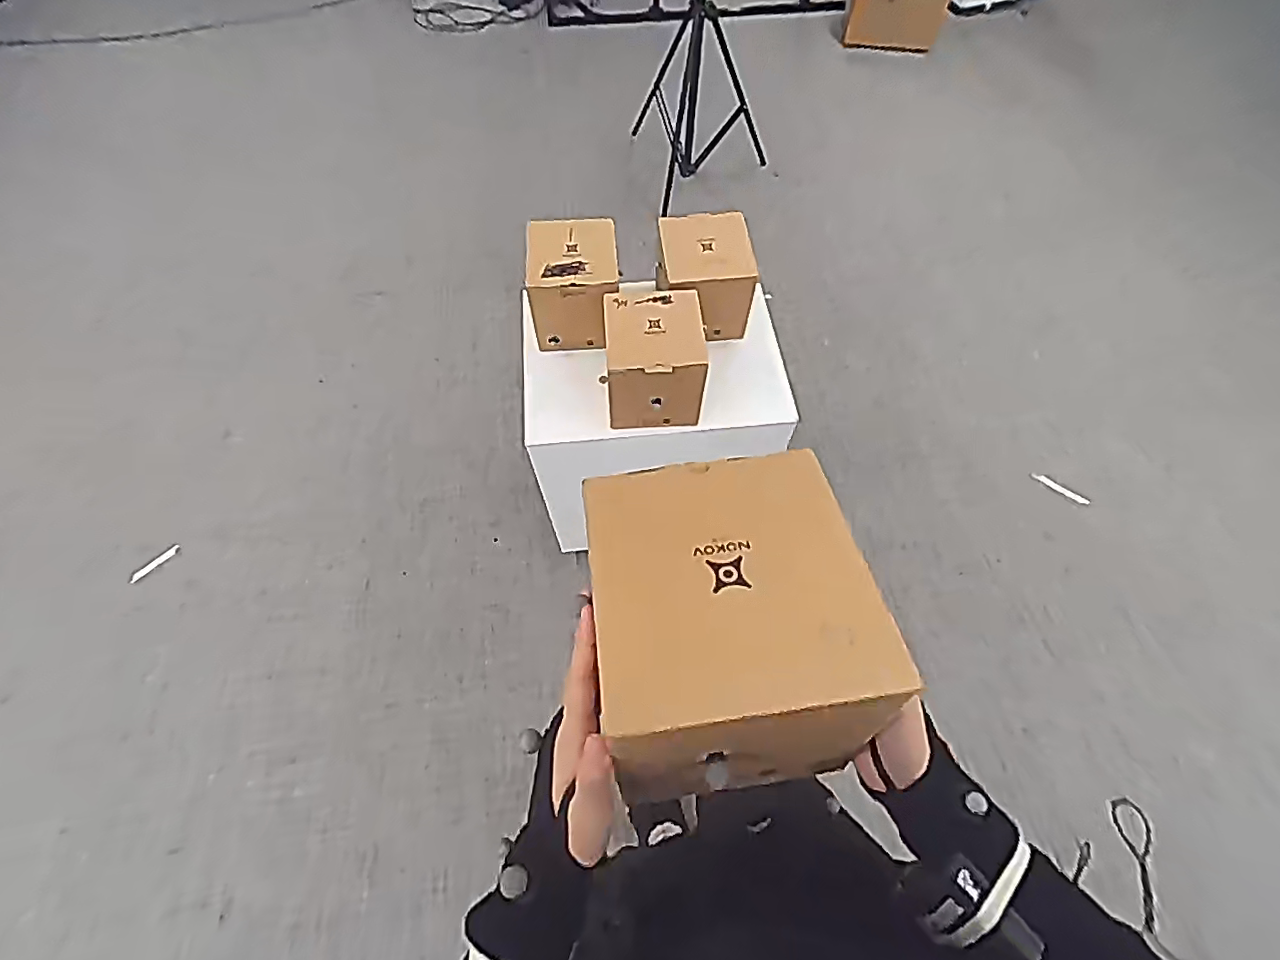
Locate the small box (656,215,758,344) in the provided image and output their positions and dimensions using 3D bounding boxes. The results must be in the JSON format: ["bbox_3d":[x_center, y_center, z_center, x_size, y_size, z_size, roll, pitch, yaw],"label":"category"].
[{"bbox_3d":[0.122,-0.390,1.068,0.168,0.176,0.179,-6,64,-2],"label":"small box"}]

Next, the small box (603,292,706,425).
[{"bbox_3d":[0.021,-0.209,0.969,0.168,0.176,0.179,-3,62,-3],"label":"small box"}]

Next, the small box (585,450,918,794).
[{"bbox_3d":[0.056,0.106,0.385,0.168,0.176,0.179,-8,48,-3],"label":"small box"}]

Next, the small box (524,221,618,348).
[{"bbox_3d":[-0.127,-0.372,1.052,0.168,0.176,0.179,-4,62,-3],"label":"small box"}]
